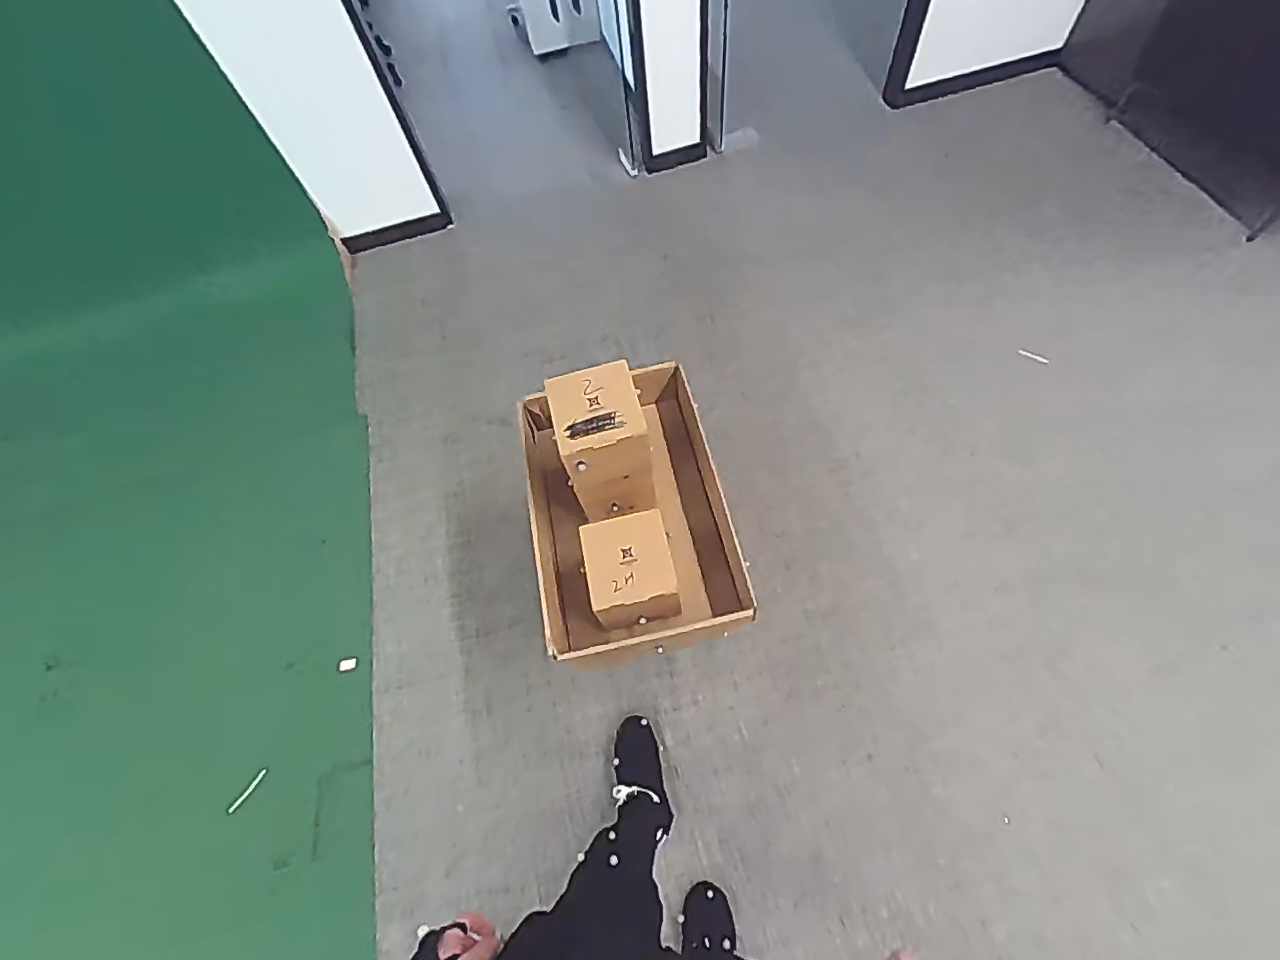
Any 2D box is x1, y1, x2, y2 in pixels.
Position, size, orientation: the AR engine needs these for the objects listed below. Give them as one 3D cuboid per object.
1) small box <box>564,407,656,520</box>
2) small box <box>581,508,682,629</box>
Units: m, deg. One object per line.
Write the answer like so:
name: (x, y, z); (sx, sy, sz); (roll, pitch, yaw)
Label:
small box: (-0.065, -0.033, 1.219); (0.168, 0.176, 0.179); (-14, 64, -1)
small box: (-0.014, 0.183, 1.093); (0.168, 0.176, 0.179); (-13, 61, 0)
